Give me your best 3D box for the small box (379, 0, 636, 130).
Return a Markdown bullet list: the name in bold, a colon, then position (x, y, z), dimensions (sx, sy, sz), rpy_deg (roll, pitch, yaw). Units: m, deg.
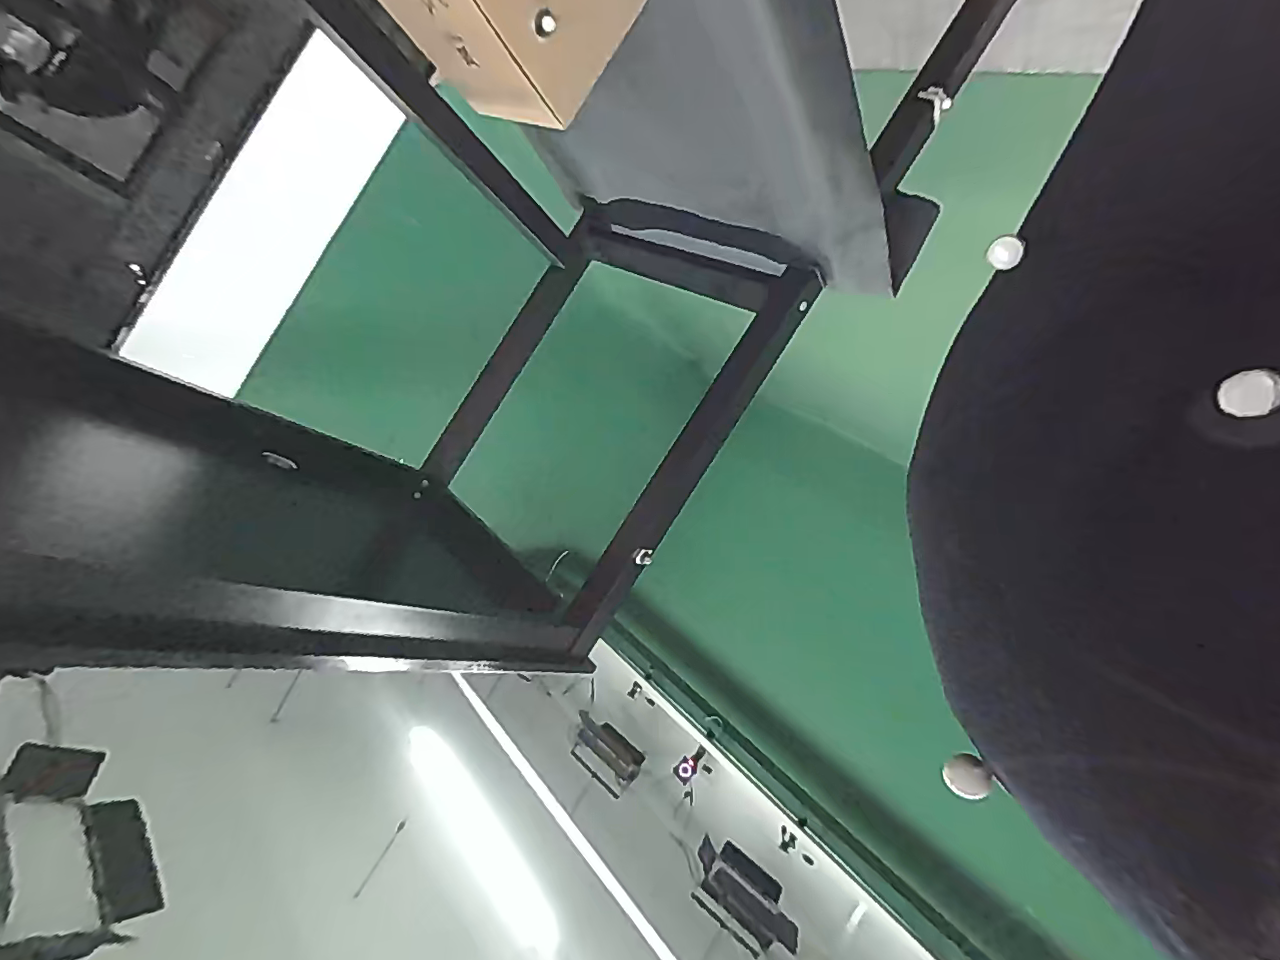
- **small box**: position (-0.130, -0.488, 0.523), dimensions (0.168, 0.176, 0.179), rpy_deg (33, -179, 32)
